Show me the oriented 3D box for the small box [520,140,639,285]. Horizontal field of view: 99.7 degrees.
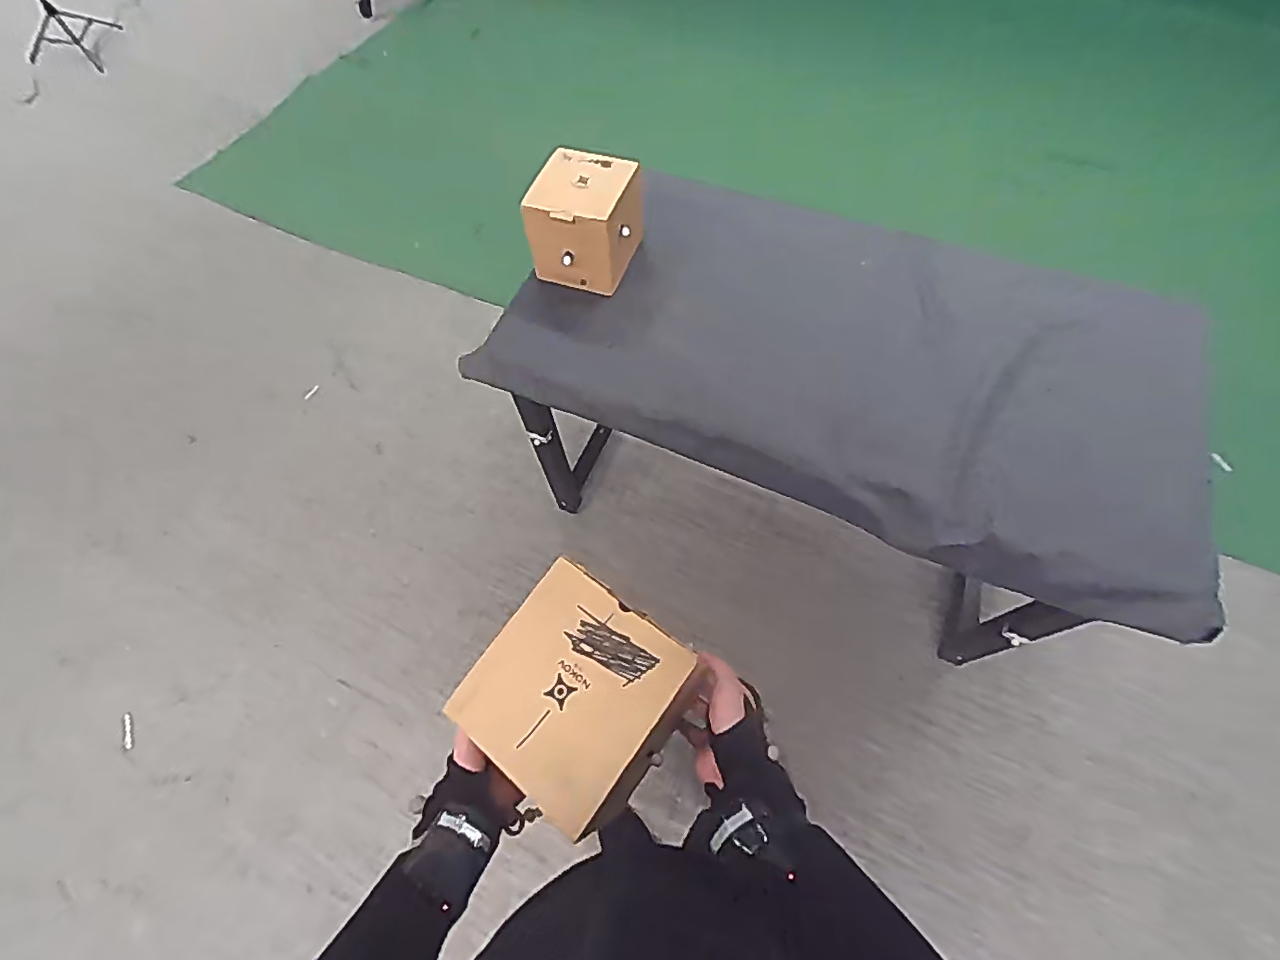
[{"bbox_3d":[-0.103,-0.506,1.035,0.168,0.176,0.179,17,66,10],"label":"small box"}]
